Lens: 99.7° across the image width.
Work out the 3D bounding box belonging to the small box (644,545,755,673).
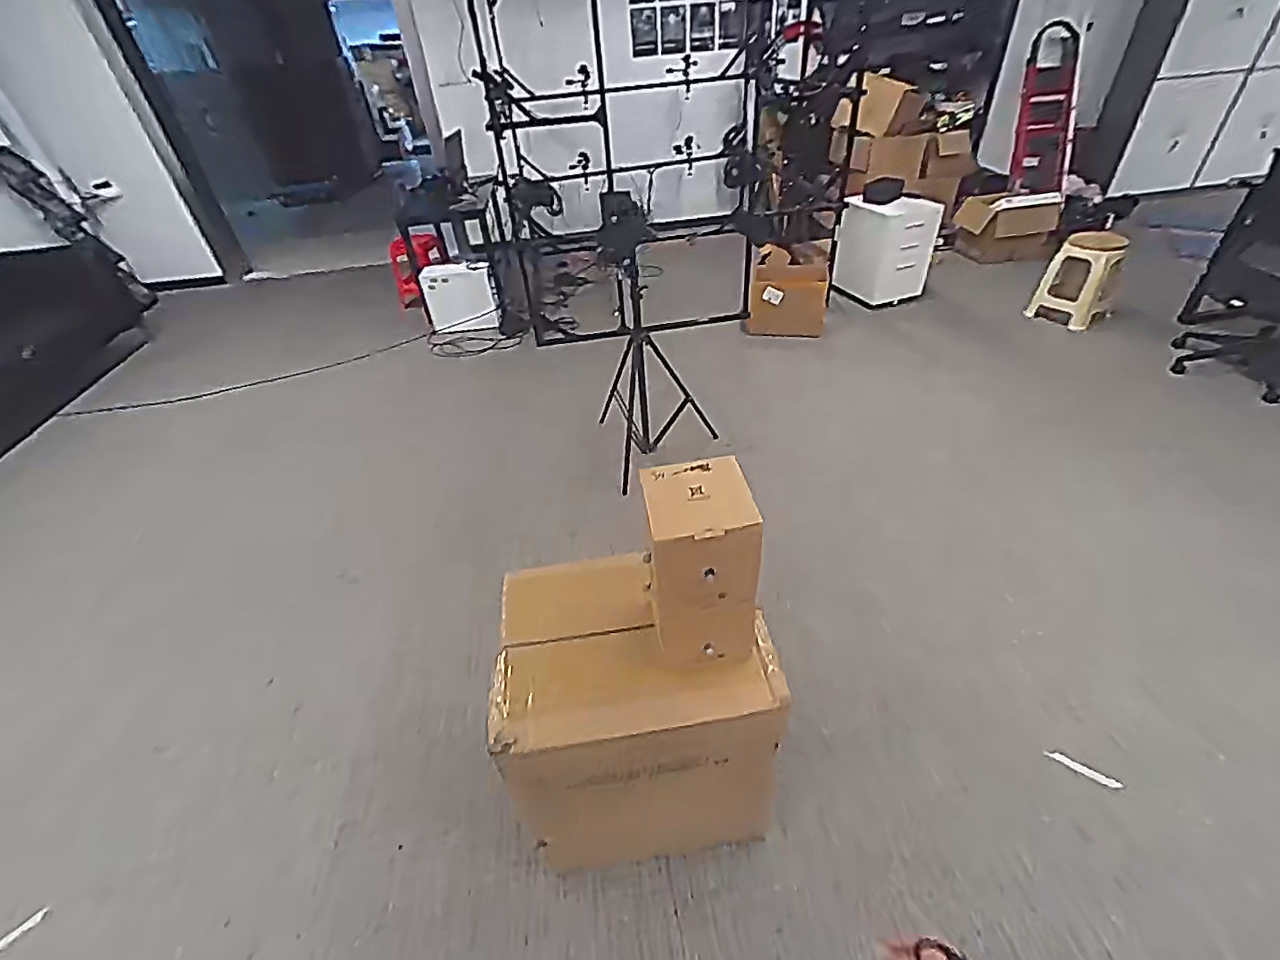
[{"bbox_3d":[0.104,0.225,1.000,0.168,0.176,0.179,-9,39,-3],"label":"small box"}]

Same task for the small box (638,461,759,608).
[{"bbox_3d":[0.094,0.095,0.900,0.168,0.176,0.179,-9,39,-2],"label":"small box"}]
